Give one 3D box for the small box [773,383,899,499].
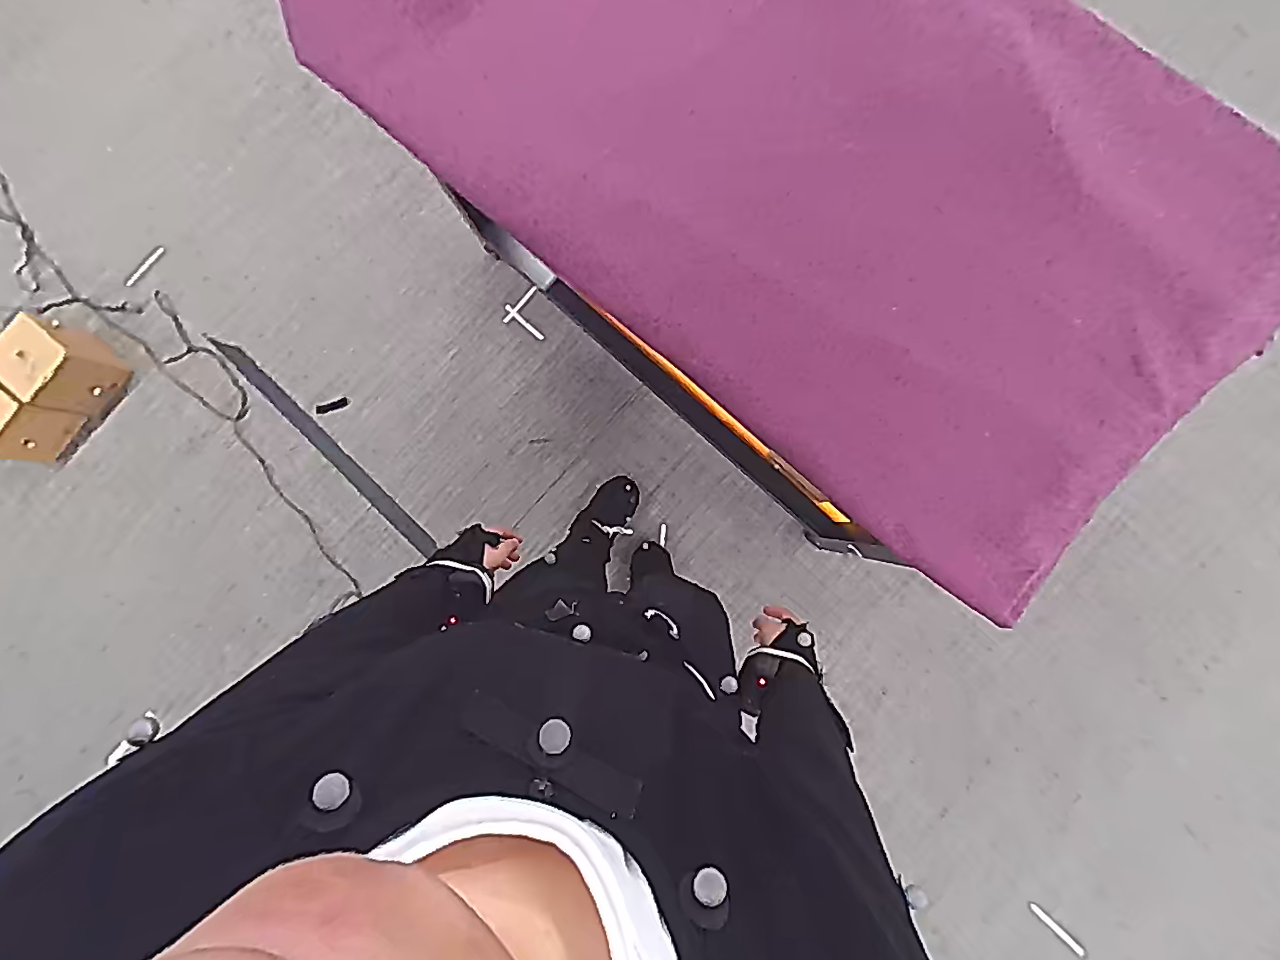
[{"bbox_3d":[0.405,-0.072,1.158,0.168,0.176,0.179,43,89,6],"label":"small box"}]
